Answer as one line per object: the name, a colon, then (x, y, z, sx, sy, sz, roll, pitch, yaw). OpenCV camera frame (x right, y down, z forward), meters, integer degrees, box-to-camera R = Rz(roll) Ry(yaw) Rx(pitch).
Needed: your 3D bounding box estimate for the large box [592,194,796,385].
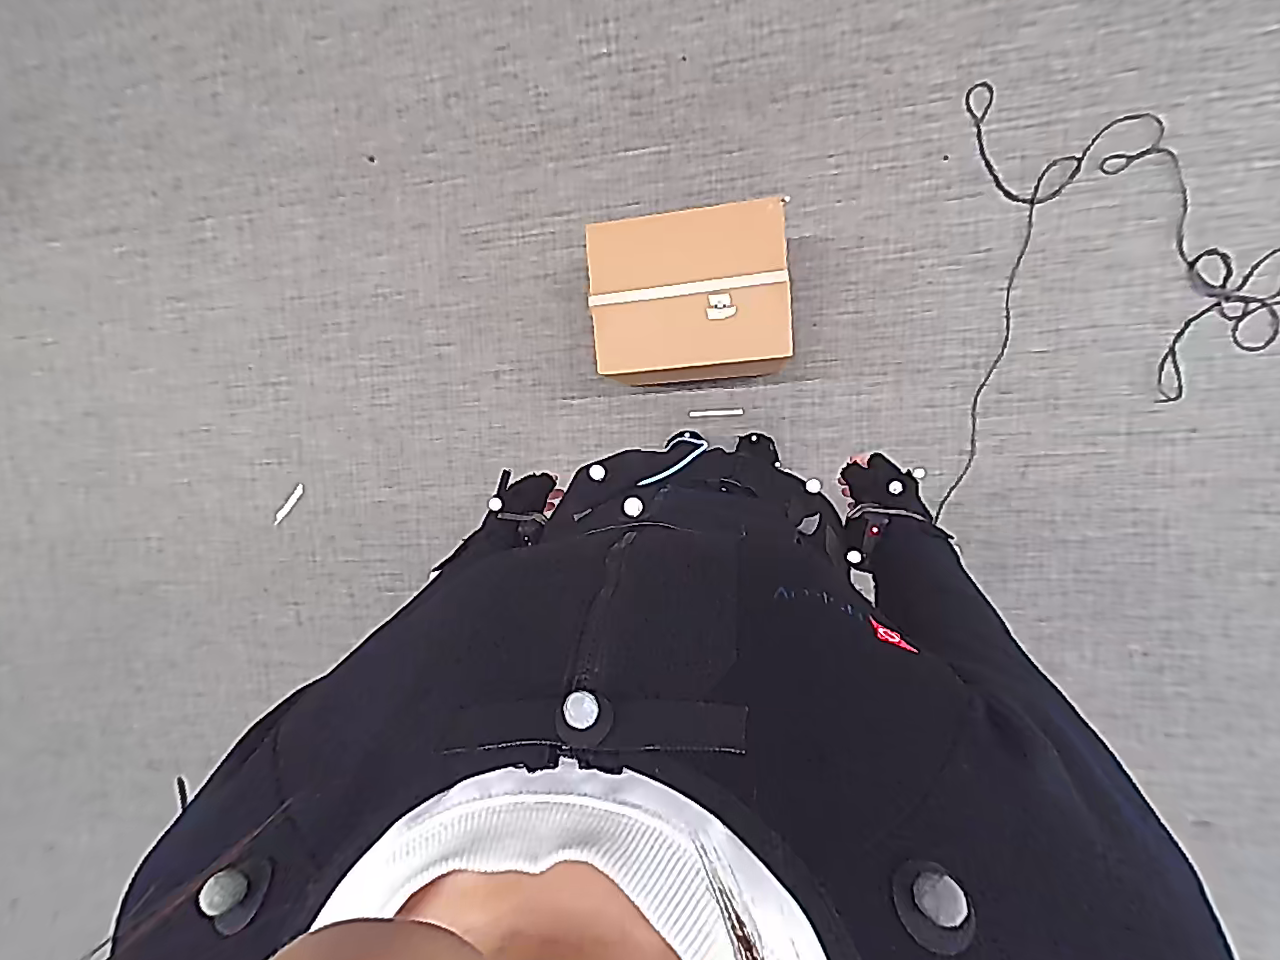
large box: (0.130, -0.407, 1.252, 0.408, 0.320, 0.320, -4, 95, 10)

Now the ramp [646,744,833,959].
ramp: (0.257, 1.243, 1.442, 0.509, 0.206, 0.991, -1, 94, 12)
